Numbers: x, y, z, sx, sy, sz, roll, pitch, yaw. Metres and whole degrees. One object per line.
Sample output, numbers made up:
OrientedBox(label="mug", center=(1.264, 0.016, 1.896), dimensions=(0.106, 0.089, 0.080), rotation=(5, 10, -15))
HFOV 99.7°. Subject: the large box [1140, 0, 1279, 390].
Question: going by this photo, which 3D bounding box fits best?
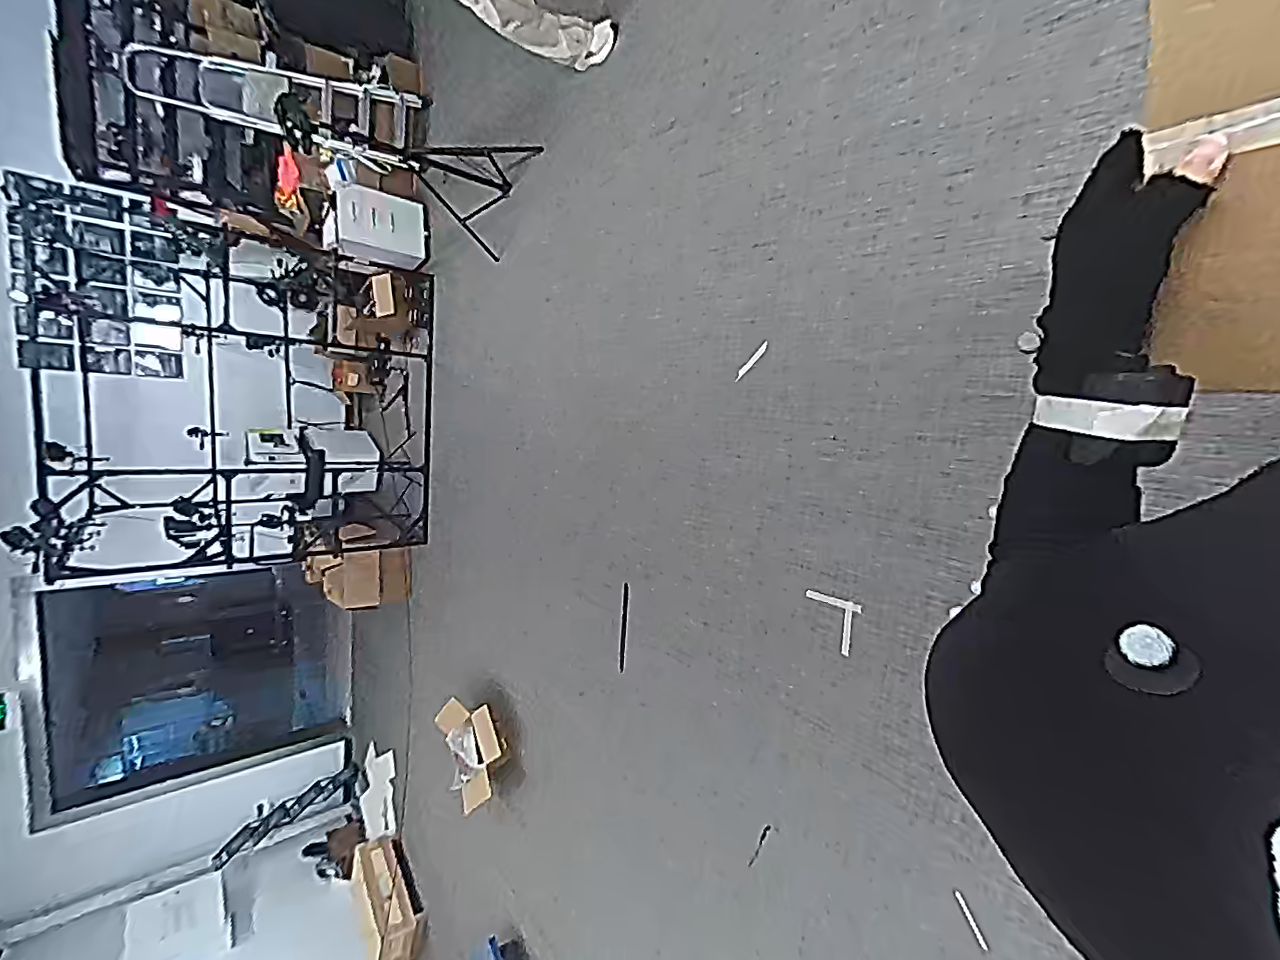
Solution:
OrientedBox(label="large box", center=(0.532, -0.251, 0.241), dimensions=(0.408, 0.320, 0.320), rotation=(12, 132, 52))
